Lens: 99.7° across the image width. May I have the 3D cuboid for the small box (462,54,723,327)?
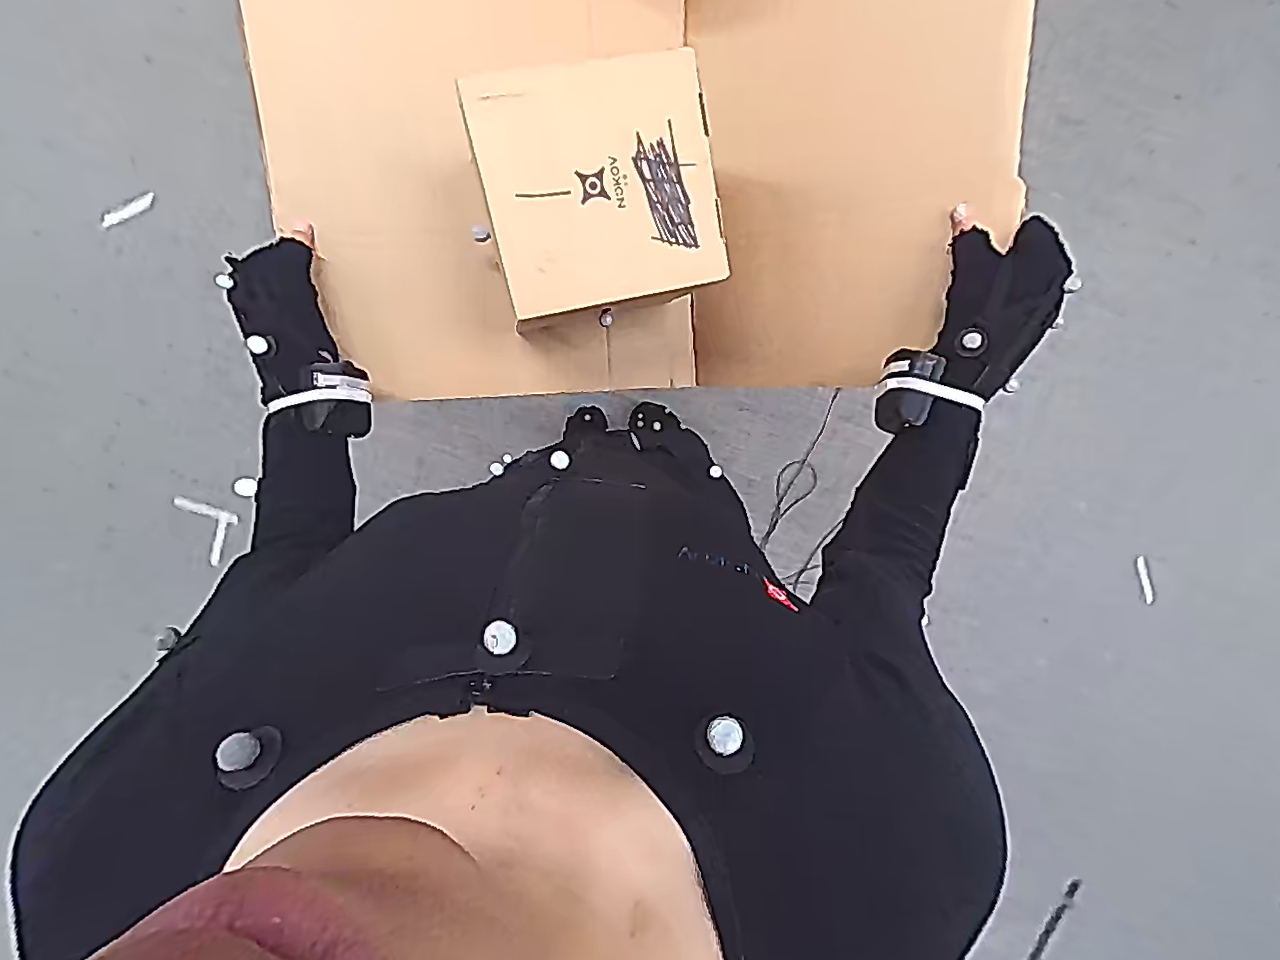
[{"bbox_3d":[-0.046,-0.239,0.488,0.179,0.176,0.168,-15,105,-9],"label":"small box"}]
